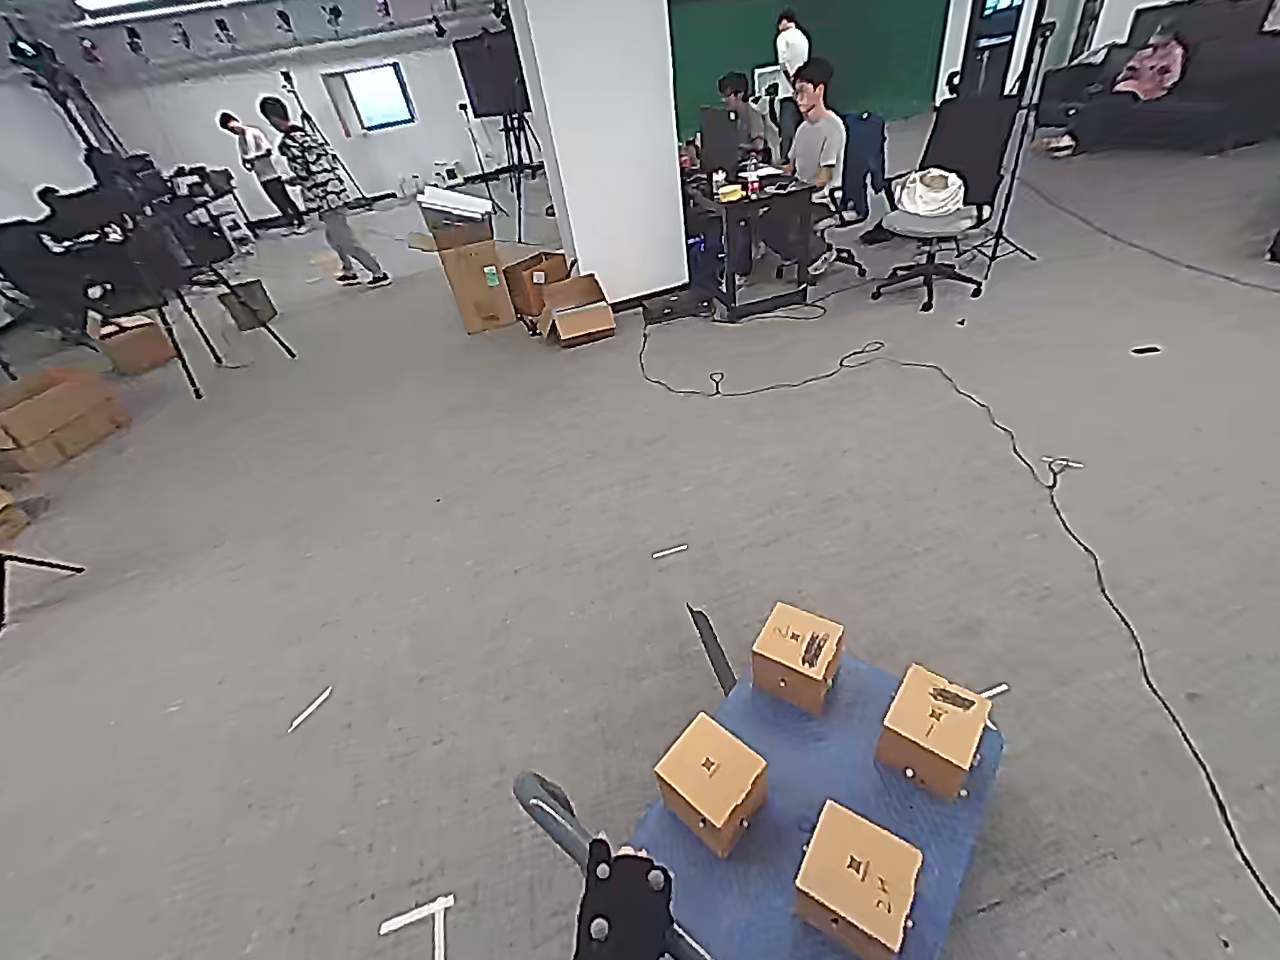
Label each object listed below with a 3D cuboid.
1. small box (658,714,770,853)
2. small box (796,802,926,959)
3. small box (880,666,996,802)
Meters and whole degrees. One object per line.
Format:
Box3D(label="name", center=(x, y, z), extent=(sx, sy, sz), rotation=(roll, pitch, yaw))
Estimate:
Box3D(label="small box", center=(0.161, 0.658, 1.172), extent=(0.179, 0.176, 0.168), rotation=(27, 51, 36))
Box3D(label="small box", center=(0.401, 0.749, 0.999), extent=(0.179, 0.176, 0.168), rotation=(18, 47, 32))
Box3D(label="small box", center=(0.643, 0.554, 1.183), extent=(0.168, 0.176, 0.179), rotation=(22, 50, 35))
